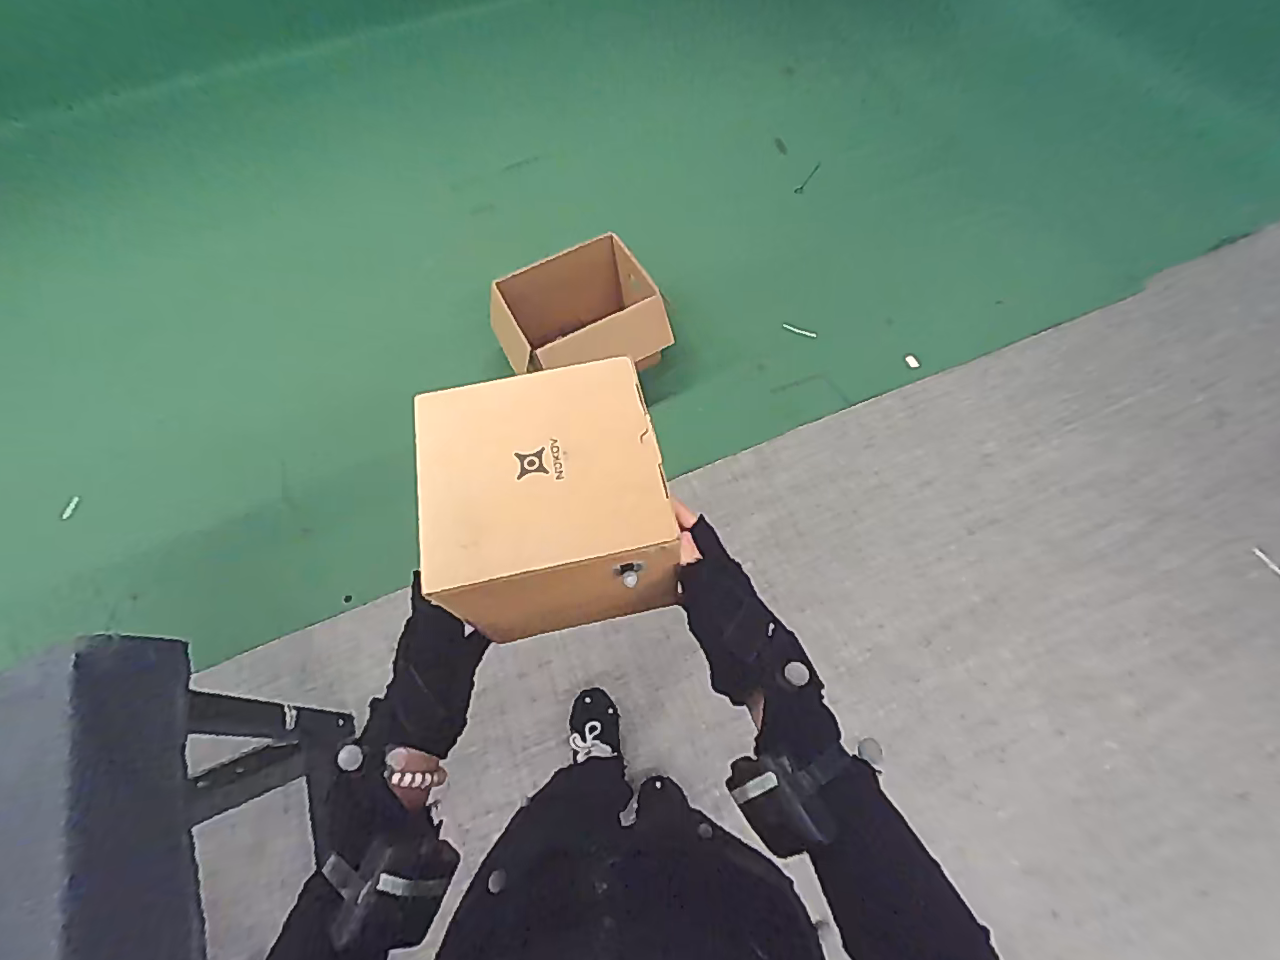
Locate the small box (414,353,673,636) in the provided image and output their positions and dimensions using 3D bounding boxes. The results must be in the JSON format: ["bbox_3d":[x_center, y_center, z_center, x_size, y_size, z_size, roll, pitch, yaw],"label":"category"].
[{"bbox_3d":[-0.073,0.022,0.463,0.179,0.176,0.168,-12,63,-4],"label":"small box"}]
